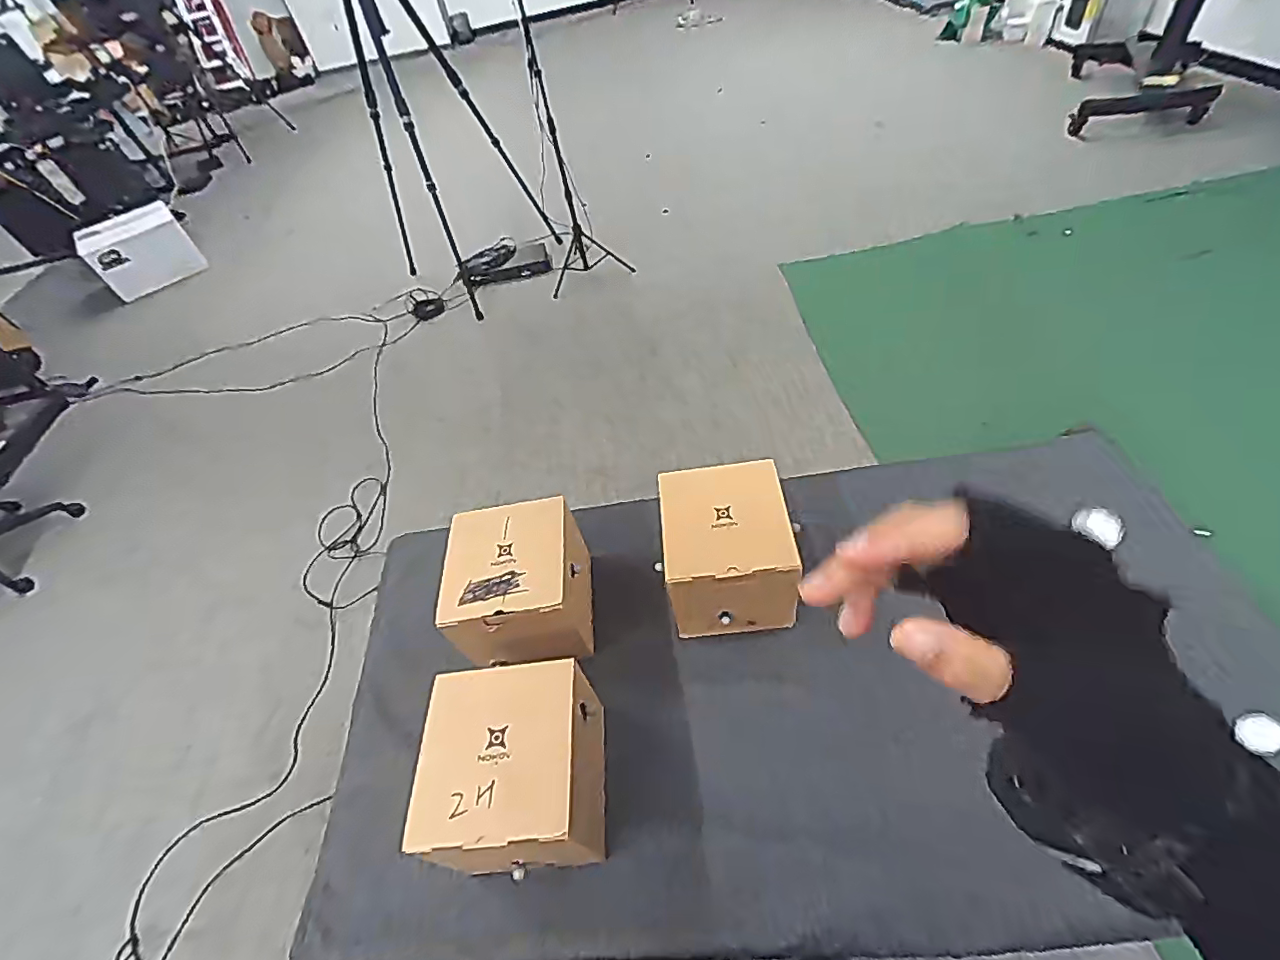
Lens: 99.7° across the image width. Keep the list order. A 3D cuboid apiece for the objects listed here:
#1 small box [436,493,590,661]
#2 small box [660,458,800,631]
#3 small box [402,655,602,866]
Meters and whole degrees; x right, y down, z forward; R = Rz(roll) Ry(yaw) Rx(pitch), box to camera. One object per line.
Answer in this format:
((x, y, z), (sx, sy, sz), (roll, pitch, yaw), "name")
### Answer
((-0.169, 0.146, 0.777), (0.168, 0.176, 0.179), (-9, 50, 3), "small box")
((0.120, 0.095, 0.768), (0.168, 0.176, 0.179), (-7, 51, 5), "small box")
((-0.140, 0.325, 0.624), (0.168, 0.176, 0.179), (-8, 49, 5), "small box")
